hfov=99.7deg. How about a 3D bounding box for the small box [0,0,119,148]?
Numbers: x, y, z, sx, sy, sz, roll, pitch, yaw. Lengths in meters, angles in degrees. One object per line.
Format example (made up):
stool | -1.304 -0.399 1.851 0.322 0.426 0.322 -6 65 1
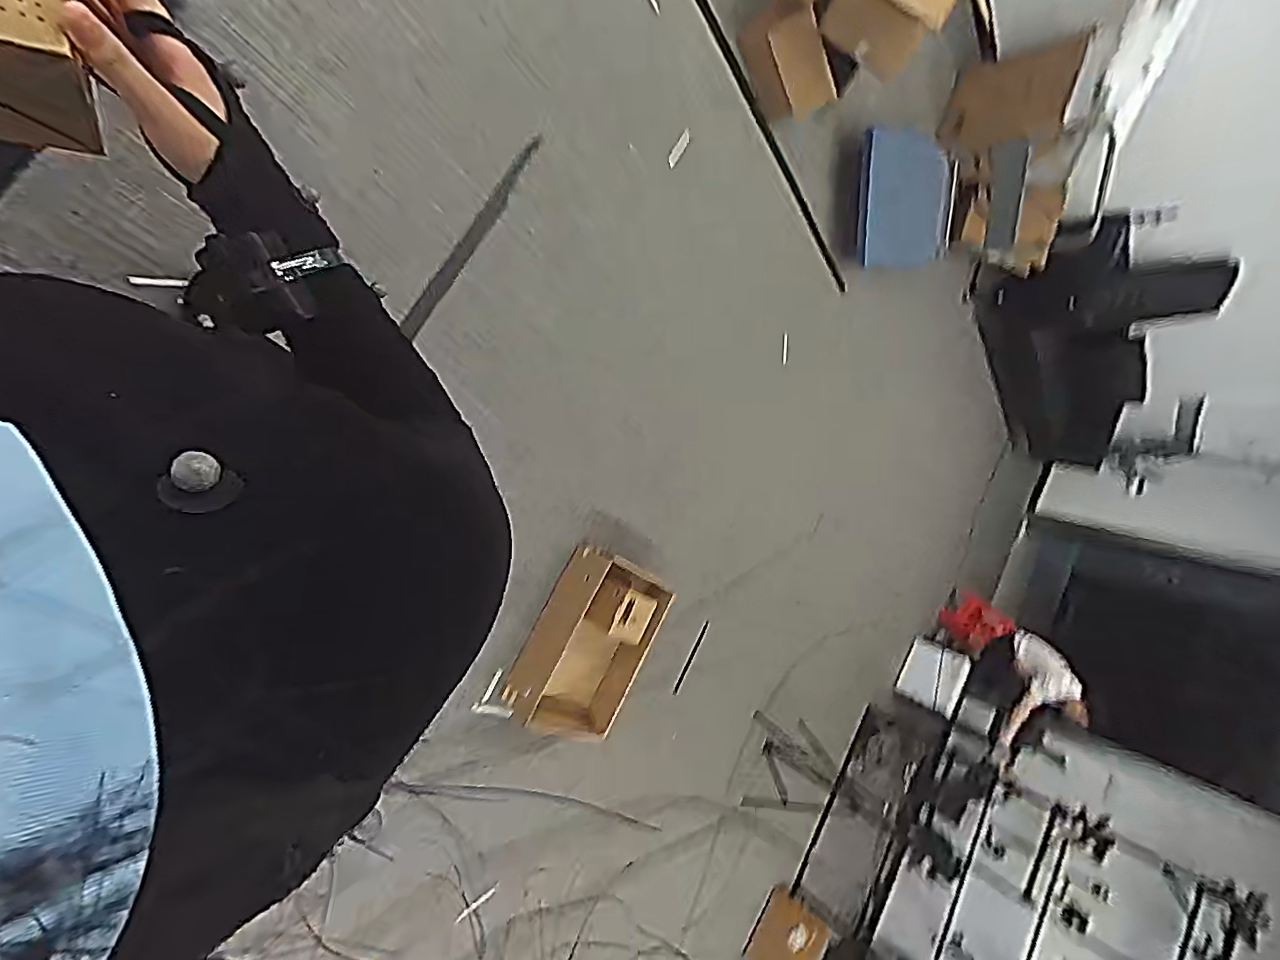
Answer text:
small box | -0.399 -0.299 0.279 0.168 0.179 0.176 -7 105 -39
